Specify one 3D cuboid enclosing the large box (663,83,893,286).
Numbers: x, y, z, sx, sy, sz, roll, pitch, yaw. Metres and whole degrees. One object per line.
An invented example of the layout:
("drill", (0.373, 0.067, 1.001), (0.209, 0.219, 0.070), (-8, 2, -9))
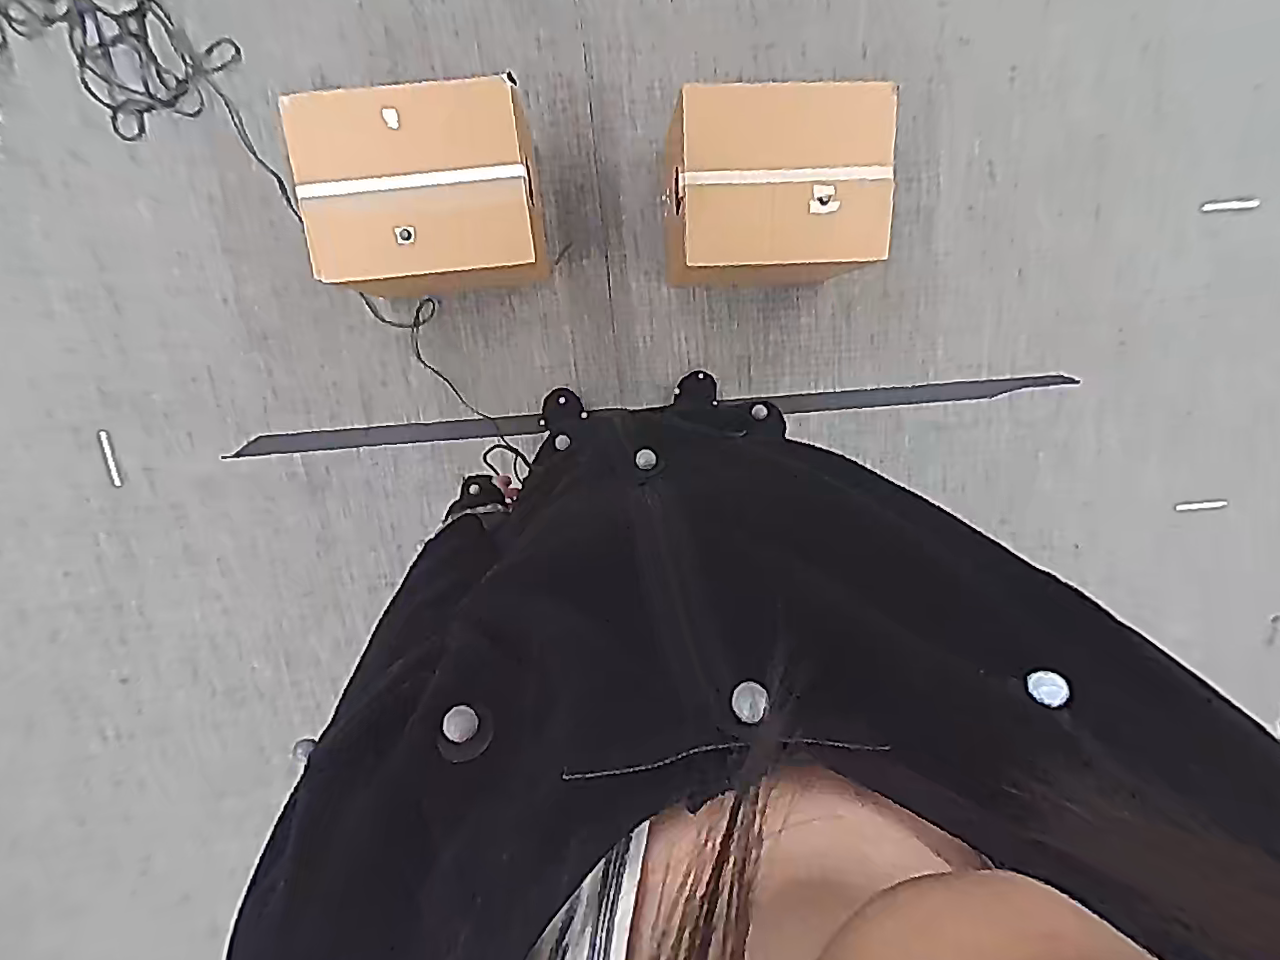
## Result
("large box", (0.271, -0.610, 1.173), (0.408, 0.320, 0.320), (-3, 103, -4))
